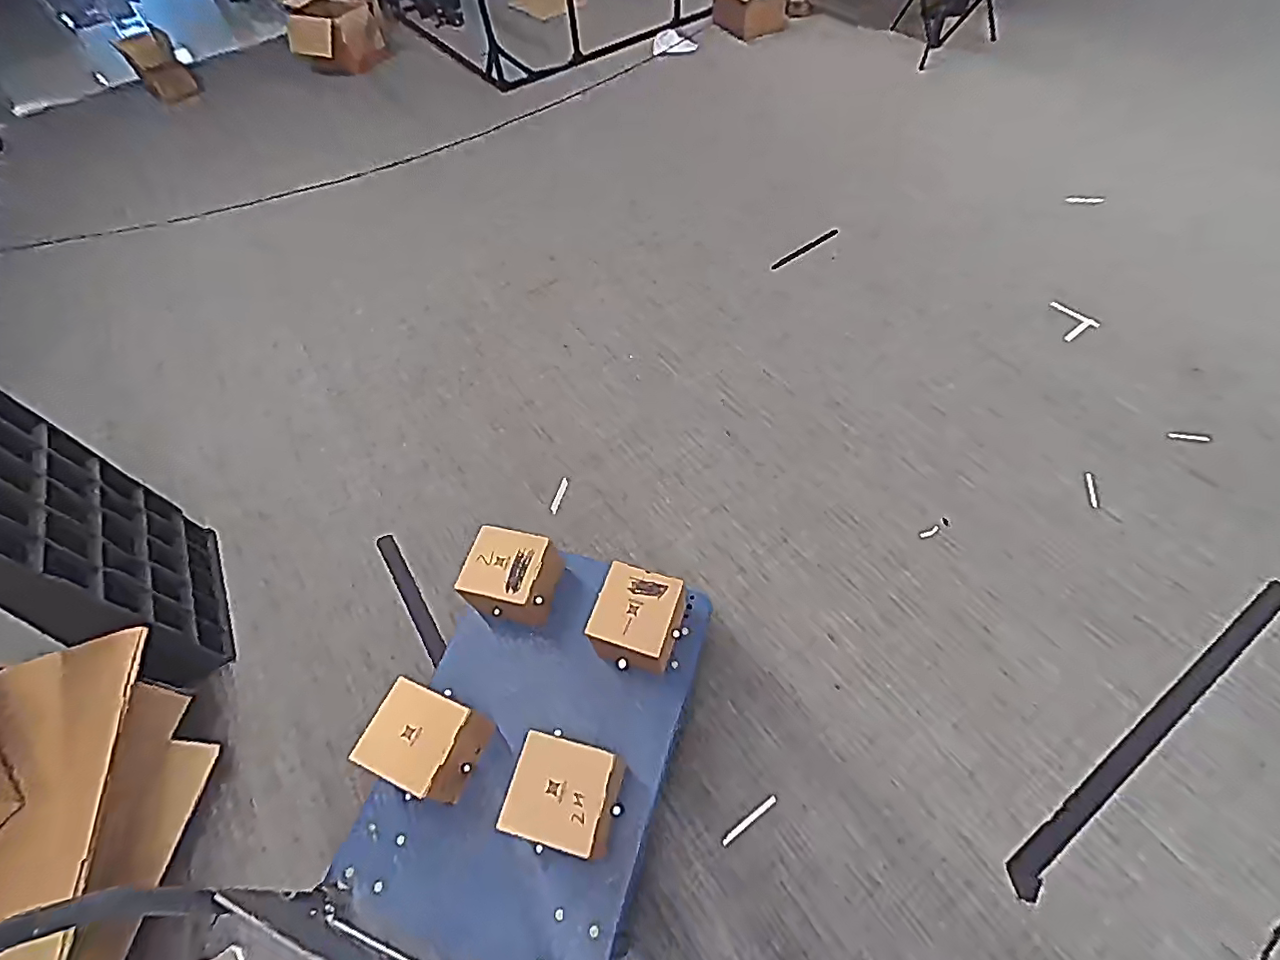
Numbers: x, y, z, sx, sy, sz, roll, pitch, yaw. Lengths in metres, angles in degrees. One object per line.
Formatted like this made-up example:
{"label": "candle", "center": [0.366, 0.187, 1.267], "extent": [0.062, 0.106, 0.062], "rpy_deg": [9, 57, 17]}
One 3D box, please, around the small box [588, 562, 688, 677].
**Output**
{"label": "small box", "center": [0.002, 0.312, 1.202], "extent": [0.168, 0.176, 0.179], "rpy_deg": [14, 60, 15]}

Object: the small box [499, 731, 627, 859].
{"label": "small box", "center": [-0.135, 0.598, 1.026], "extent": [0.179, 0.176, 0.168], "rpy_deg": [10, 58, 12]}
